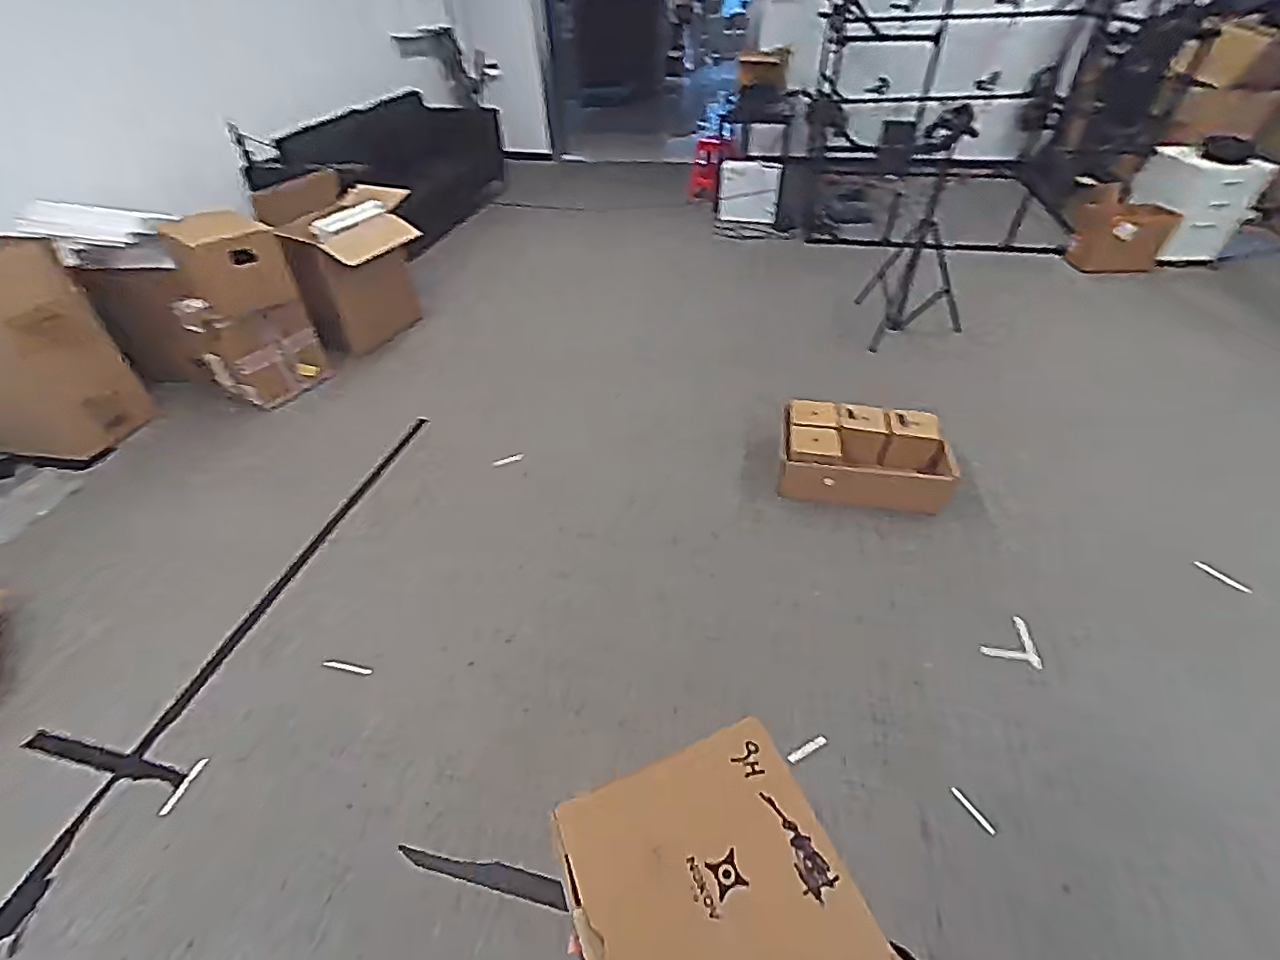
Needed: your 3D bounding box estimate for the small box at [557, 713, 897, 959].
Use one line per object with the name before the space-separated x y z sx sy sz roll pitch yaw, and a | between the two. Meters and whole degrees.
small box | 0.046 0.316 0.413 0.179 0.176 0.168 -14 49 -19
